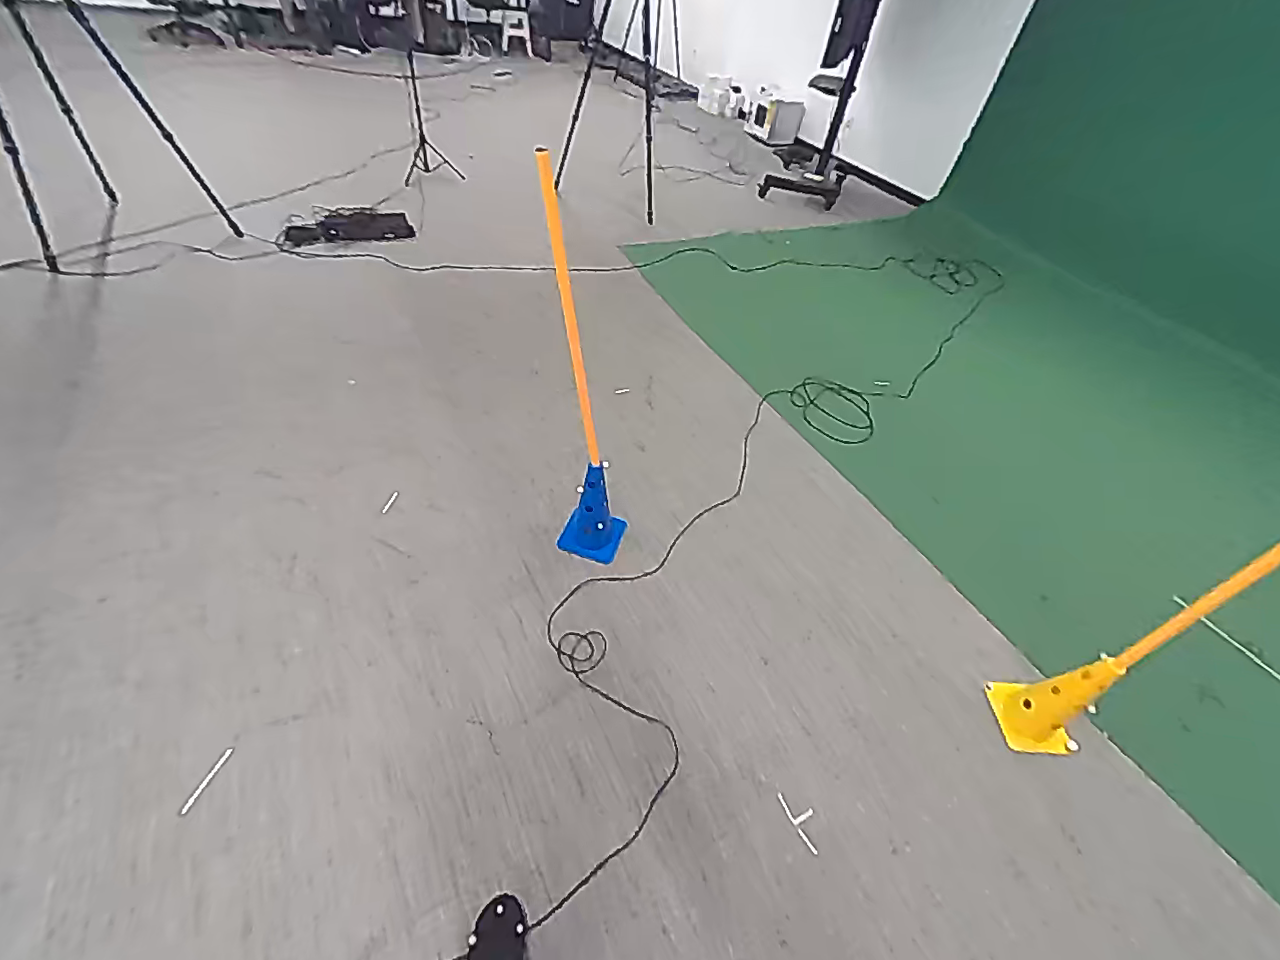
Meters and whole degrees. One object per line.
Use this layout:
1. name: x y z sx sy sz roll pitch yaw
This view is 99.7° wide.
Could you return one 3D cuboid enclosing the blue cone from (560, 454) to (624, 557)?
1. blue cone: -0.151 0.067 1.742 0.193 0.380 0.192 15 47 7
